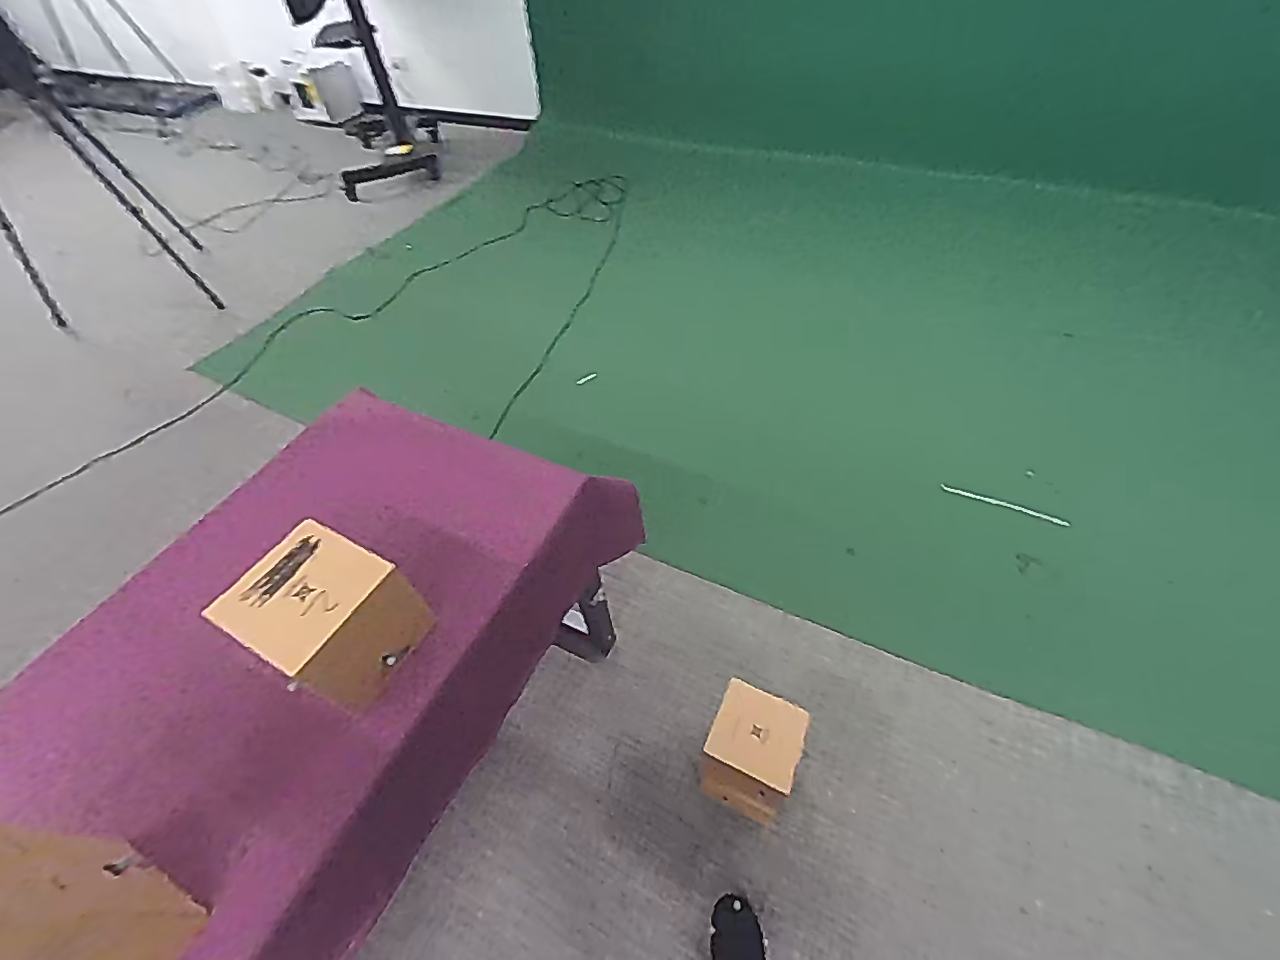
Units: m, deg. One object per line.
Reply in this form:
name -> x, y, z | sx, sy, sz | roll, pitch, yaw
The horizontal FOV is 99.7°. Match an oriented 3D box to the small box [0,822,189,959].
small box -> -0.605, 0.479, 0.533 | 0.168, 0.176, 0.179 | 18, 54, 18

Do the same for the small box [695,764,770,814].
small box -> 0.235, 0.653, 1.270 | 0.168, 0.176, 0.179 | 18, 54, 17

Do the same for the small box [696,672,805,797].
small box -> 0.229, 0.545, 1.149 | 0.179, 0.176, 0.168 | 20, 54, 19
